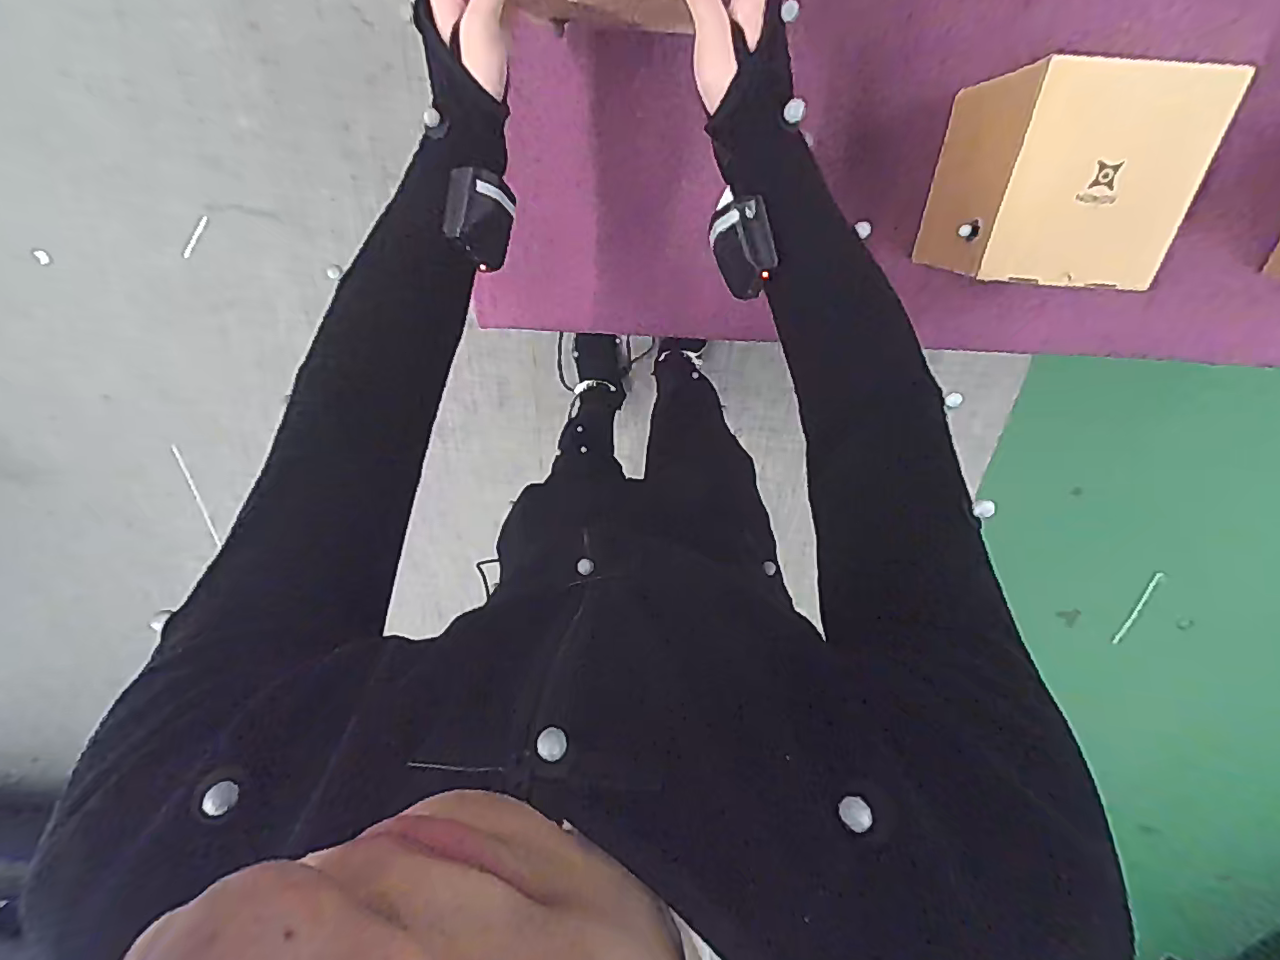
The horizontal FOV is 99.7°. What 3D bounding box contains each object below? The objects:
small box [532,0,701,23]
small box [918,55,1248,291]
[{"bbox_3d":[-0.024,-0.486,0.422,0.168,0.176,0.179,5,121,1],"label":"small box"},{"bbox_3d":[0.414,-0.302,0.550,0.168,0.176,0.179,5,119,1],"label":"small box"}]
